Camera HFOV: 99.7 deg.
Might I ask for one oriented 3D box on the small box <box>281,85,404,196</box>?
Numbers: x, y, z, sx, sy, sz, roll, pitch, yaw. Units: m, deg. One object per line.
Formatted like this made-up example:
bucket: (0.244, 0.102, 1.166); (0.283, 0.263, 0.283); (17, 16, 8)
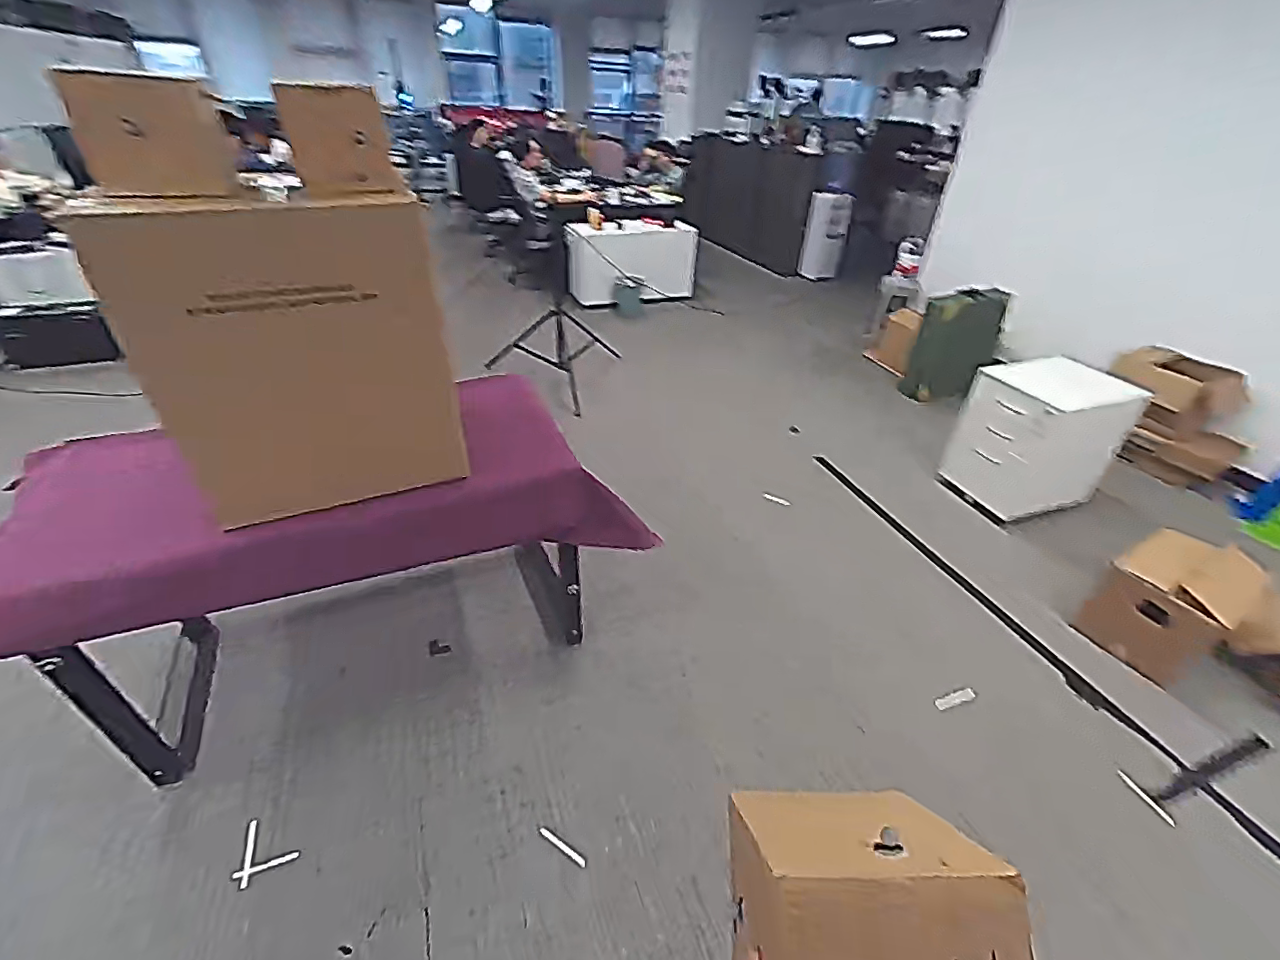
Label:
small box: (-0.559, -0.644, 1.027); (0.168, 0.176, 0.179); (-15, 38, -23)

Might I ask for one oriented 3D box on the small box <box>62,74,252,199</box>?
small box: (-0.806, -0.587, 0.928); (0.179, 0.176, 0.168); (-12, 39, -21)

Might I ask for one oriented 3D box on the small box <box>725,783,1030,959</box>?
small box: (0.173, 0.358, 0.434); (0.179, 0.176, 0.168); (0, 77, -2)
